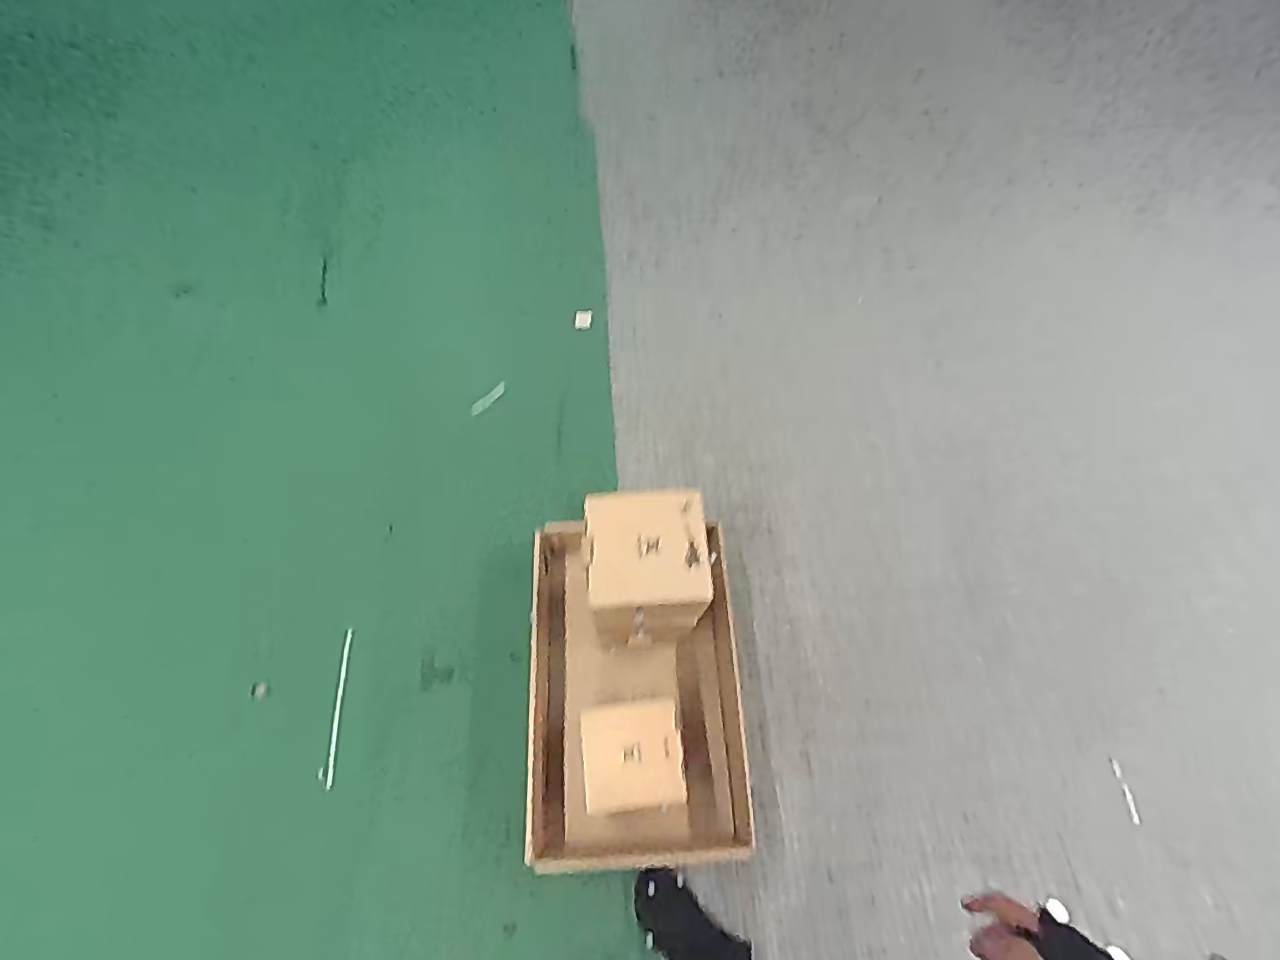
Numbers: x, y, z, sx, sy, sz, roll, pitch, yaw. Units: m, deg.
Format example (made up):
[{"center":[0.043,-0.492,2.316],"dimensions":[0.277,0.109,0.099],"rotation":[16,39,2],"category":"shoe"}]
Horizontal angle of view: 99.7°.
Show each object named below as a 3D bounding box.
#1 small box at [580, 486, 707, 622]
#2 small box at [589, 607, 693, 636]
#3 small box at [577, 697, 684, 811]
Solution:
[{"center":[0.003,0.122,0.847],"dimensions":[0.179,0.176,0.168],"rotation":[-4,66,-2],"category":"small box"},{"center":[-0.001,0.192,0.996],"dimensions":[0.179,0.176,0.168],"rotation":[0,66,-3],"category":"small box"},{"center":[-0.020,0.516,1.023],"dimensions":[0.179,0.176,0.168],"rotation":[-6,64,-5],"category":"small box"}]
